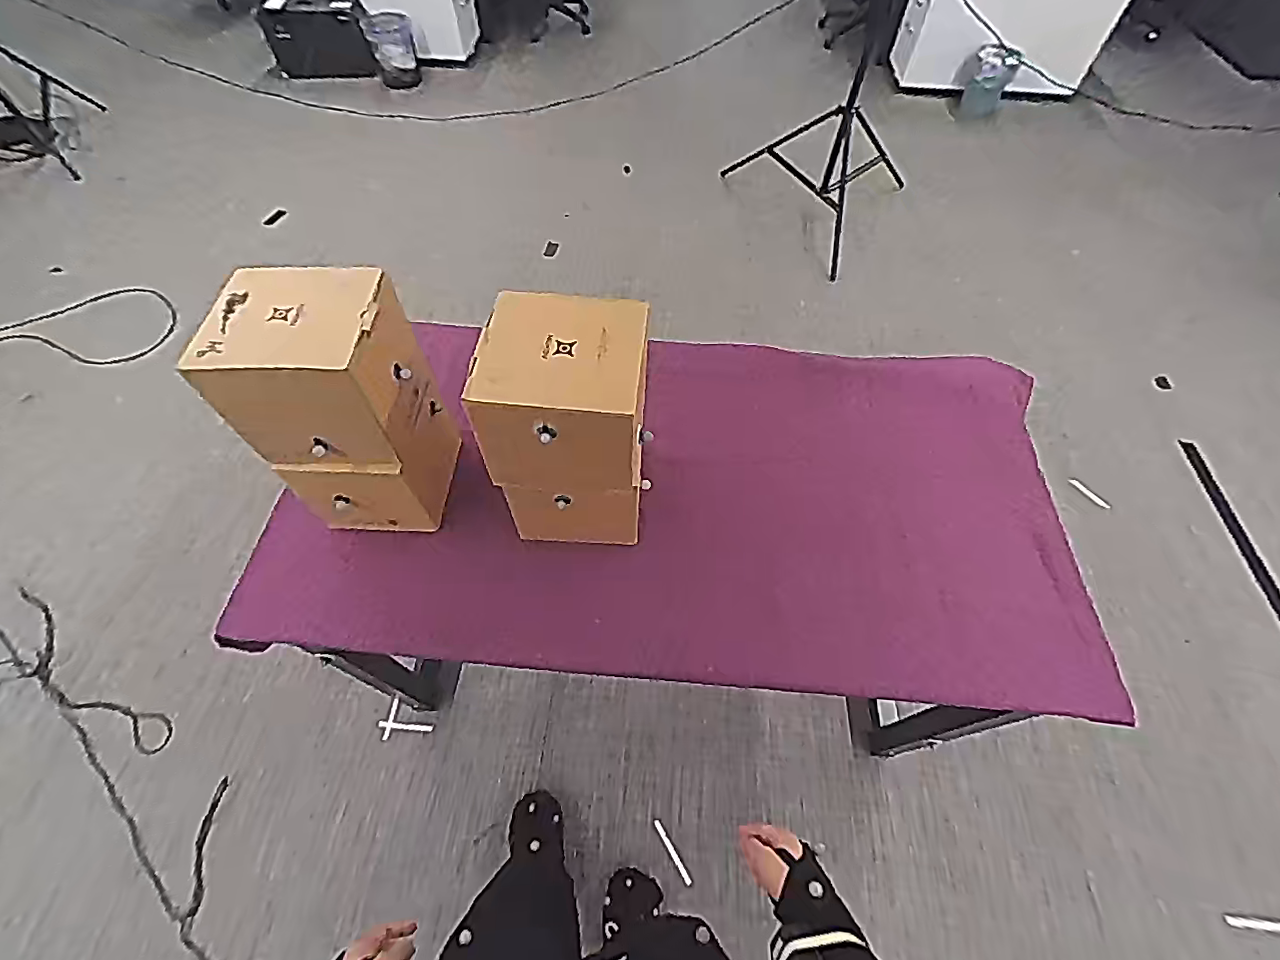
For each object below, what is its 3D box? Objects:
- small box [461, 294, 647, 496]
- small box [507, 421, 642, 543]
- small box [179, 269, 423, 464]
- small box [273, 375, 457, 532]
[{"bbox_3d":[-0.087,-0.094,0.643,0.179,0.176,0.168,5,59,1],"label":"small box"},{"bbox_3d":[-0.088,-0.018,0.787,0.179,0.176,0.168,3,57,0],"label":"small box"},{"bbox_3d":[-0.385,-0.131,0.659,0.179,0.176,0.168,0,57,-2],"label":"small box"},{"bbox_3d":[-0.383,-0.036,0.793,0.168,0.176,0.179,1,57,0],"label":"small box"}]
